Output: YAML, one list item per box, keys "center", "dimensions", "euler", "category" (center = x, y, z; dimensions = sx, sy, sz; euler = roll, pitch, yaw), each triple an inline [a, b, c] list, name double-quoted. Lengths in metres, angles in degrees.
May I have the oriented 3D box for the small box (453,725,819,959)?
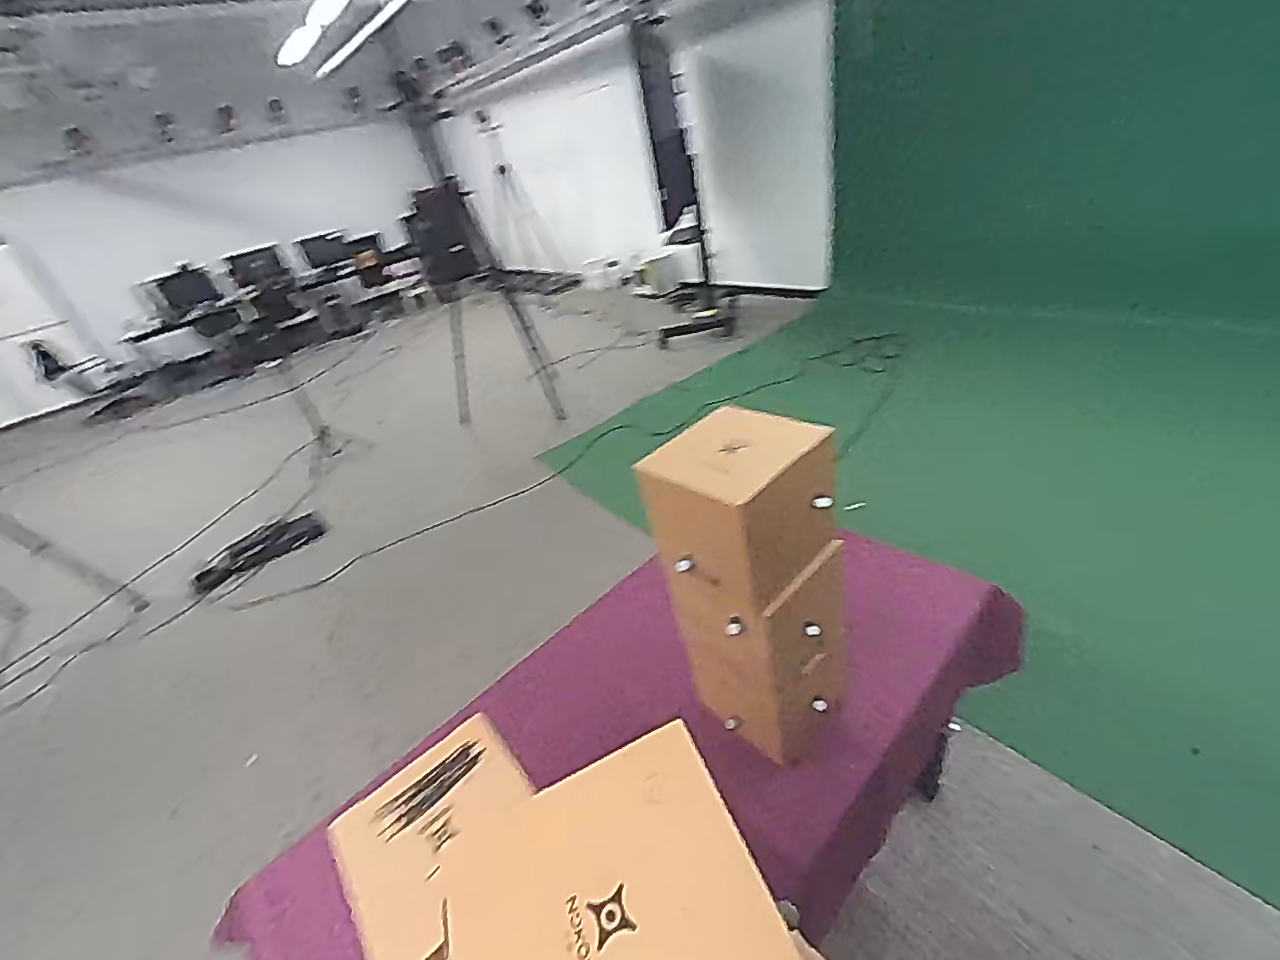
- center: [0.007, 0.300, 0.340]
  dimensions: [0.179, 0.176, 0.168]
  euler: [-24, 37, -9]
  category: "small box"

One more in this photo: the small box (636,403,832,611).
- center: [0.123, 0.028, 0.683]
  dimensions: [0.179, 0.176, 0.168]
  euler: [-36, 38, -29]
  category: "small box"

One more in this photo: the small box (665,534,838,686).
- center: [0.162, 0.160, 0.770]
  dimensions: [0.168, 0.176, 0.179]
  euler: [-34, 38, -29]
  category: "small box"

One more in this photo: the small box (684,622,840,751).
- center: [0.197, 0.294, 0.861]
  dimensions: [0.168, 0.176, 0.179]
  euler: [-34, 39, -29]
  category: "small box"
